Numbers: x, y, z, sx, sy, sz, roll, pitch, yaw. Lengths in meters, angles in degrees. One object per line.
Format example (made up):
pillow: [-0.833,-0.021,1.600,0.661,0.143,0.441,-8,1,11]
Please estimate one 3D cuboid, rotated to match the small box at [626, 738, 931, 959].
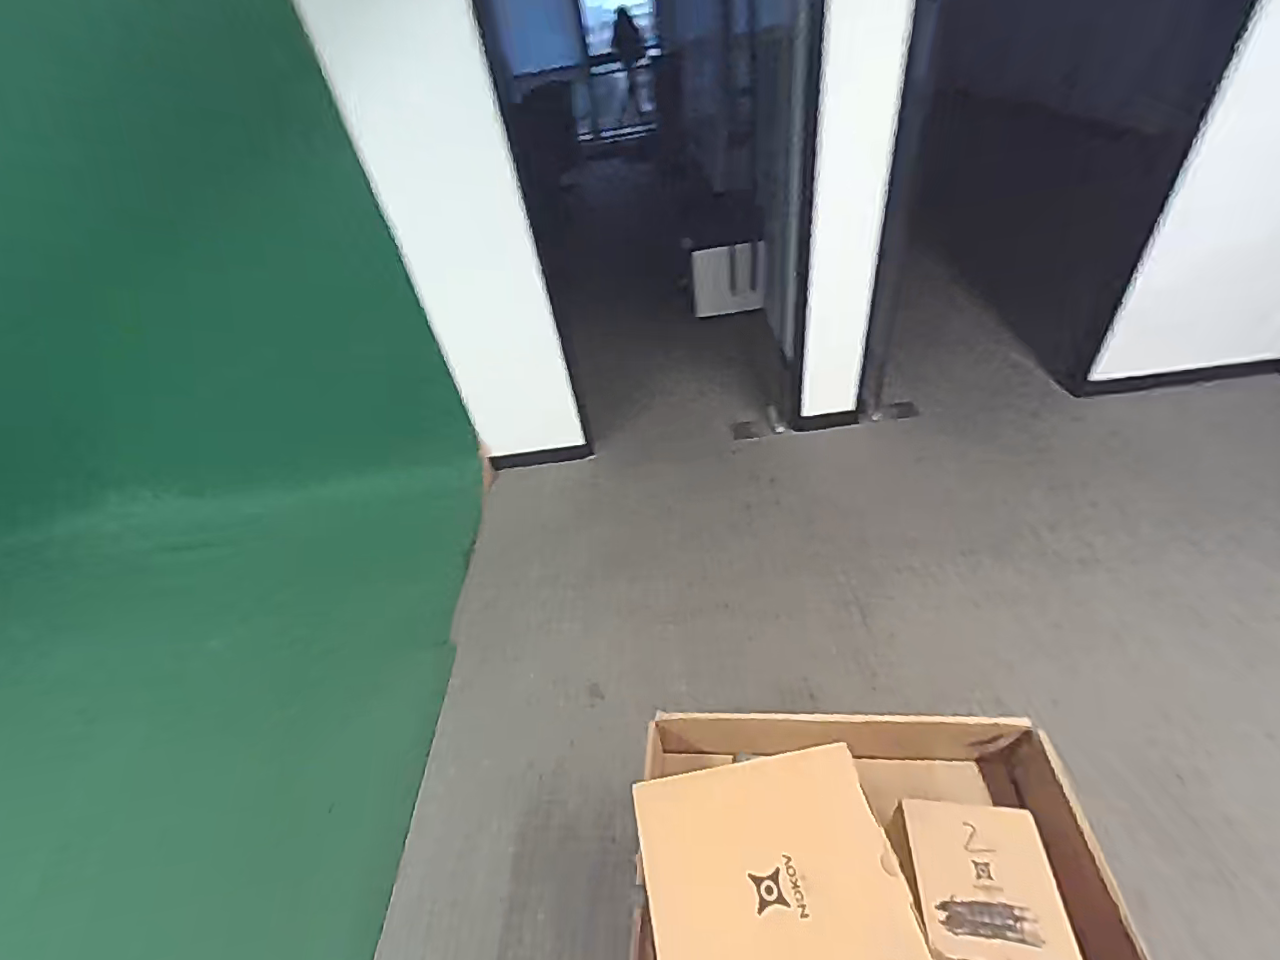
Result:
small box: [0.091,0.333,0.427,0.179,0.176,0.168,-9,46,-7]
